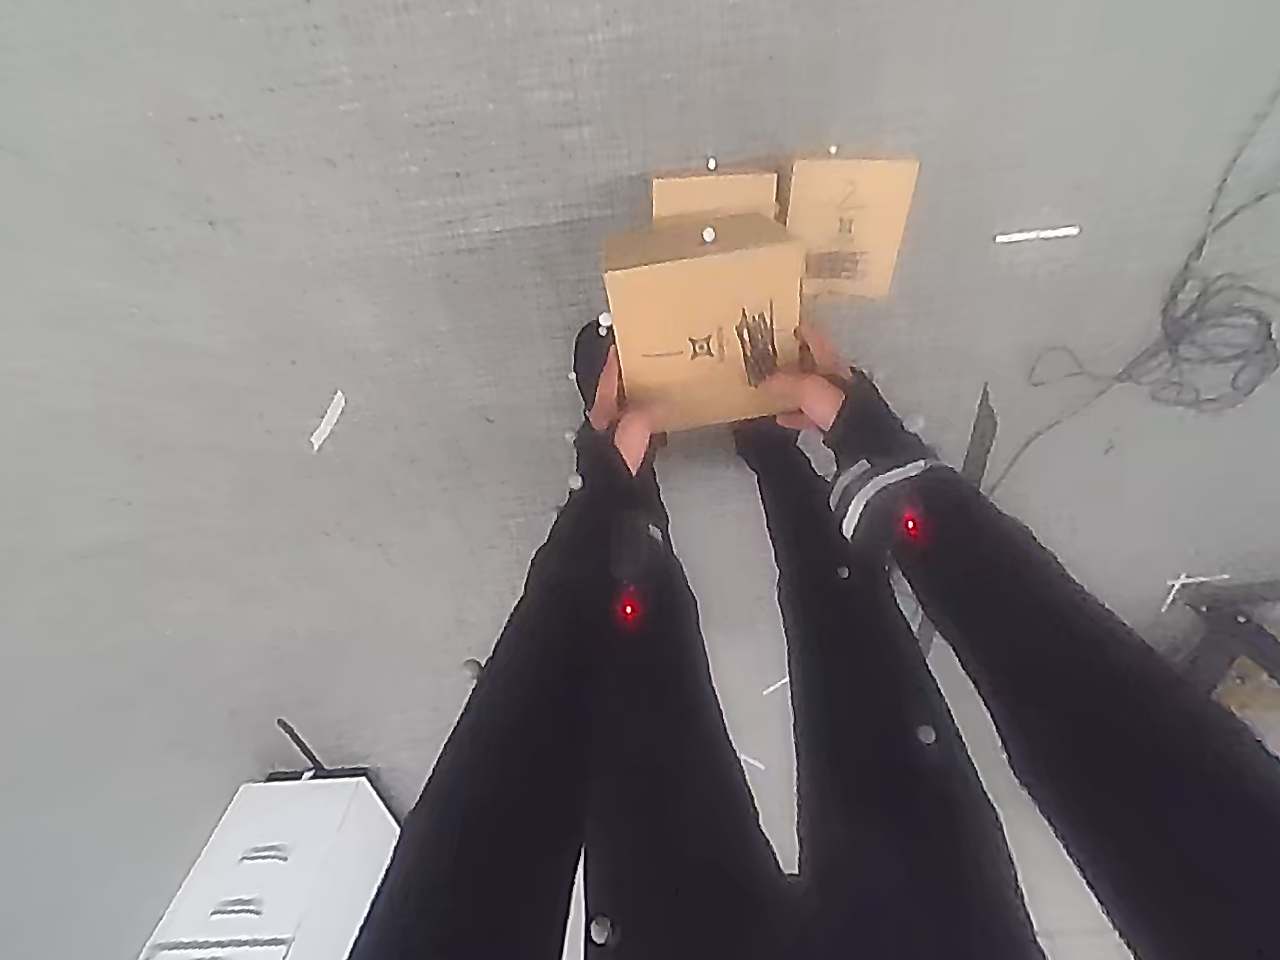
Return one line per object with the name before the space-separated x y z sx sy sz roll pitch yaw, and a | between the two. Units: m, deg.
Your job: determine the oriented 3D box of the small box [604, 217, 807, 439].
small box | 0.061 -0.165 0.568 0.179 0.176 0.168 -9 124 2
